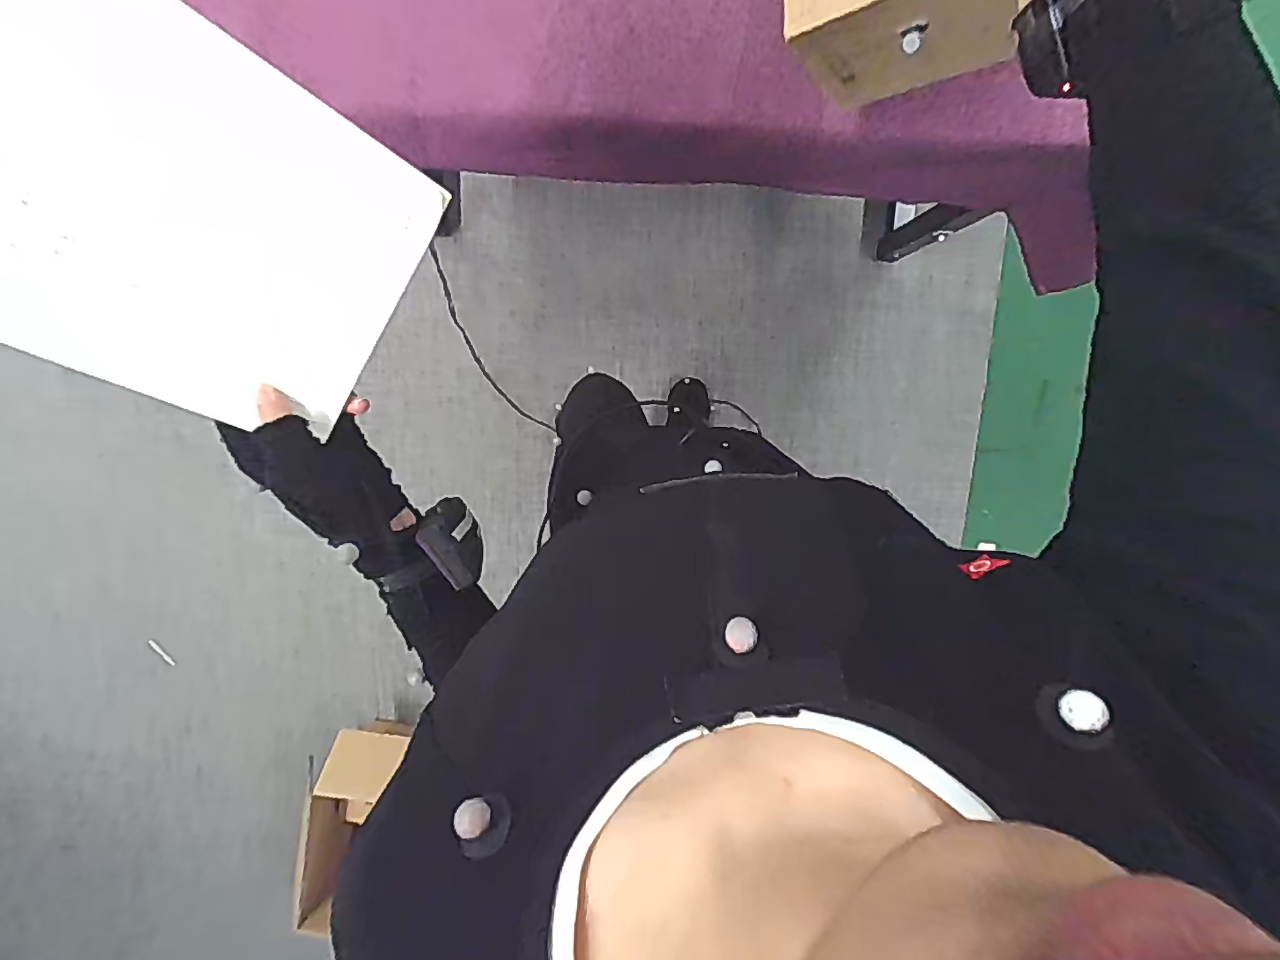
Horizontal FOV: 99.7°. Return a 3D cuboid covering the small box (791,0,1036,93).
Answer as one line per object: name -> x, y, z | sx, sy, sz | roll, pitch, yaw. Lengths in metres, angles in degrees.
small box -> 0.235, -0.478, 0.463 | 0.176, 0.168, 0.179 | 6, 102, 38
